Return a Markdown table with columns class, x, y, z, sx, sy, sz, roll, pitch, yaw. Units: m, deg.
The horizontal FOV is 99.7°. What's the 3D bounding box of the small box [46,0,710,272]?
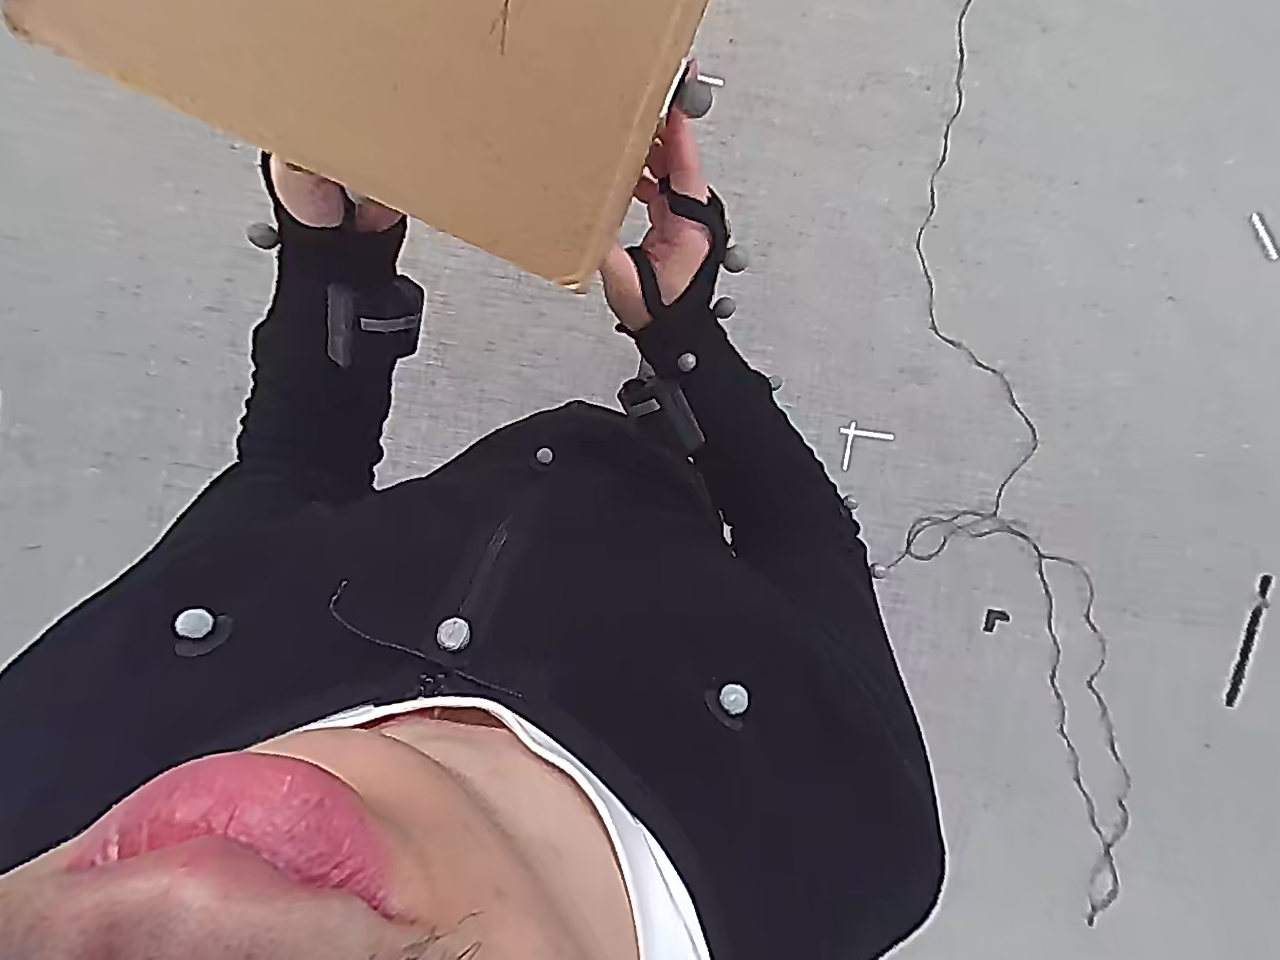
| class | x | y | z | sx | sy | sz | roll | pitch | yaw |
| --- | --- | --- | --- | --- | --- | --- | --- | --- | --- |
| small box | -0.061 | -0.205 | 0.202 | 0.179 | 0.176 | 0.168 | 20 | 122 | -9 |
